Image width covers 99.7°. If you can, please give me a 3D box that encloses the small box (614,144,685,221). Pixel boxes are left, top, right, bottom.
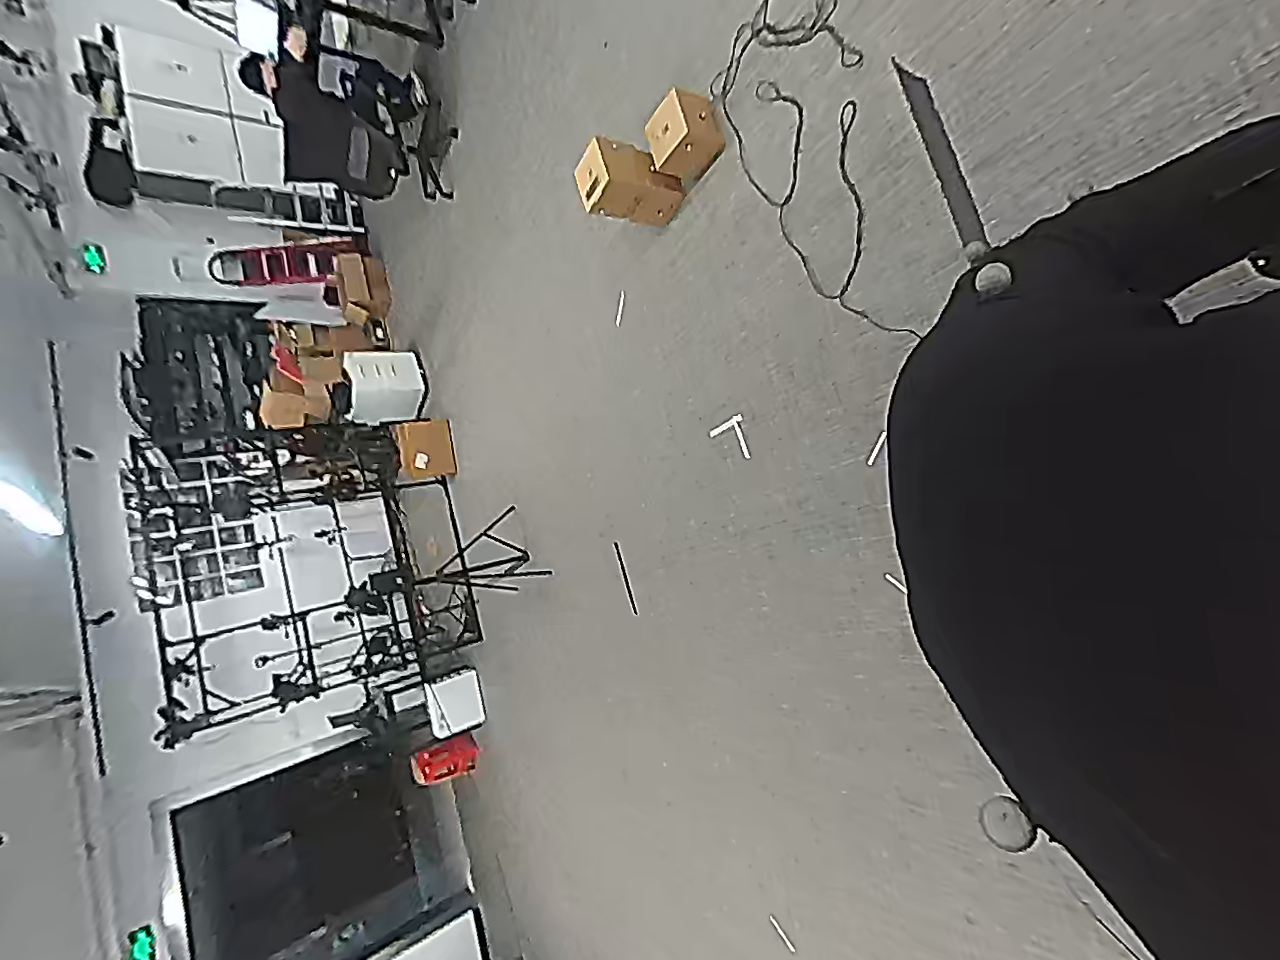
[{"bbox_3d":[0.036,-1.076,1.970,0.168,0.176,0.179,-38,68,52],"label":"small box"}]

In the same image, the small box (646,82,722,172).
[{"bbox_3d":[0.150,-1.155,1.782,0.179,0.176,0.168,-25,78,55],"label":"small box"}]
